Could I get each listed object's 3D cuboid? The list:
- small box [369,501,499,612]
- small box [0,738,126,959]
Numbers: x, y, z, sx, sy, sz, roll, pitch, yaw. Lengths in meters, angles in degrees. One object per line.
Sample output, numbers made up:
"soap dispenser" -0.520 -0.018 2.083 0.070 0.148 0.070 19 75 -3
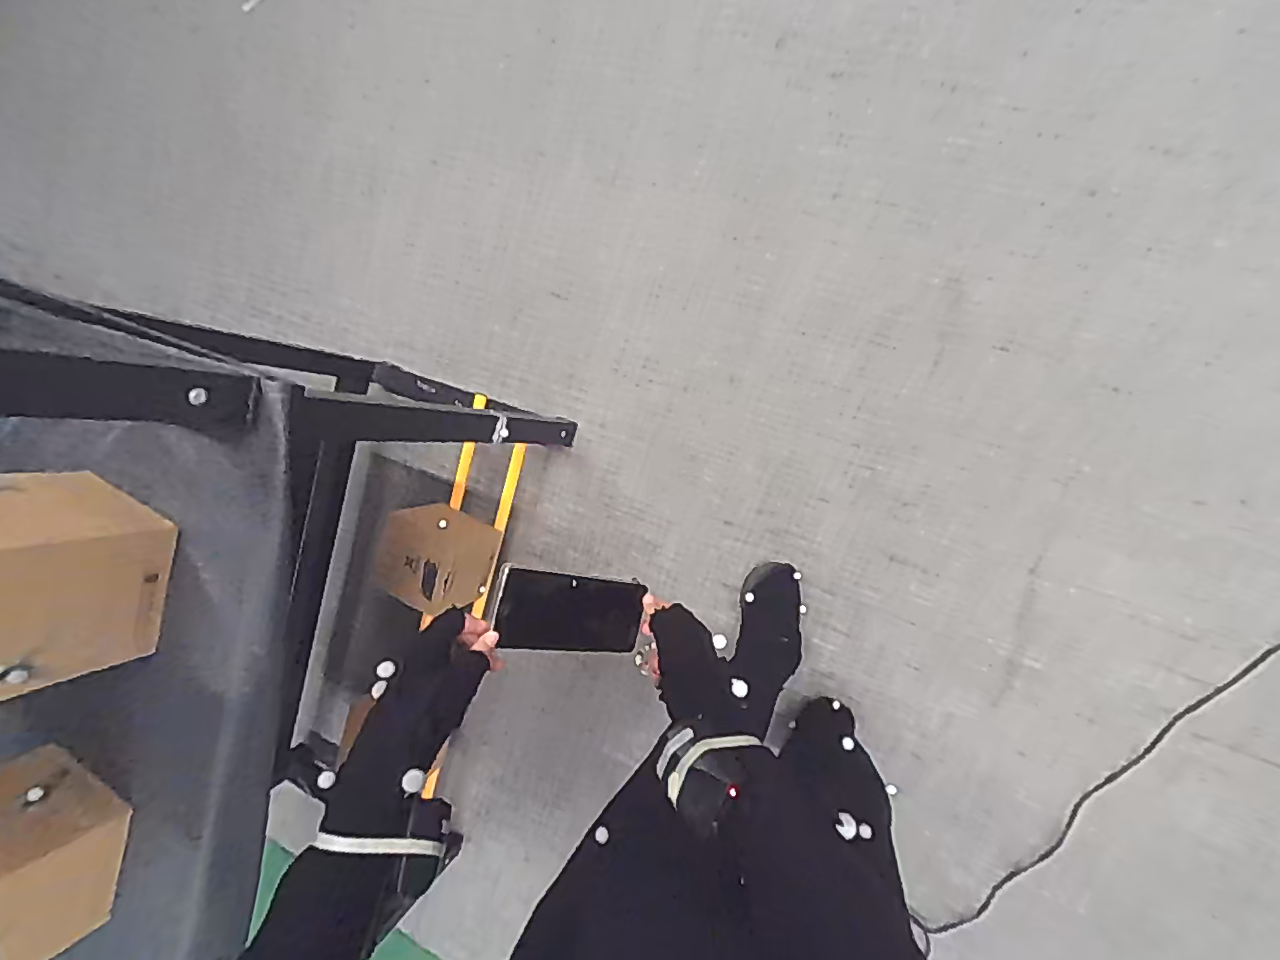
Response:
"small box" -0.433 0.153 1.159 0.179 0.176 0.168 23 100 15
"small box" -0.748 0.445 0.622 0.168 0.176 0.179 23 100 15
